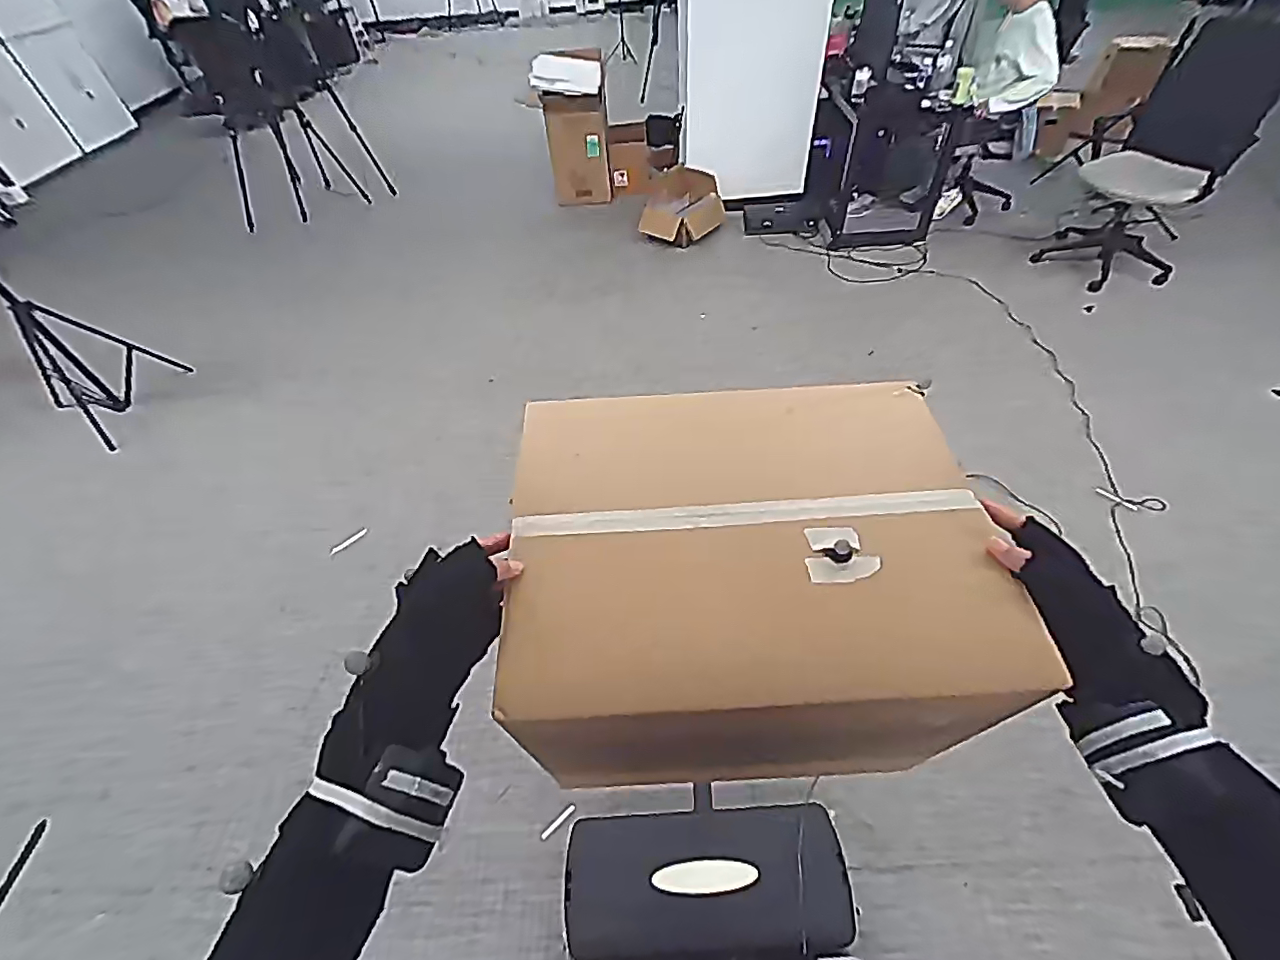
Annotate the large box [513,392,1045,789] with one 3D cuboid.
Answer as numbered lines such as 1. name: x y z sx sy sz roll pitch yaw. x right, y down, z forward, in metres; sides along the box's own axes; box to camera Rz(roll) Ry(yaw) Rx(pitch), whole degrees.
1. large box: 0.096 0.130 0.600 0.408 0.320 0.320 -4 53 -1

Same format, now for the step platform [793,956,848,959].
1. step platform: 0.138 1.157 1.075 0.684 0.204 0.286 -6 48 2
